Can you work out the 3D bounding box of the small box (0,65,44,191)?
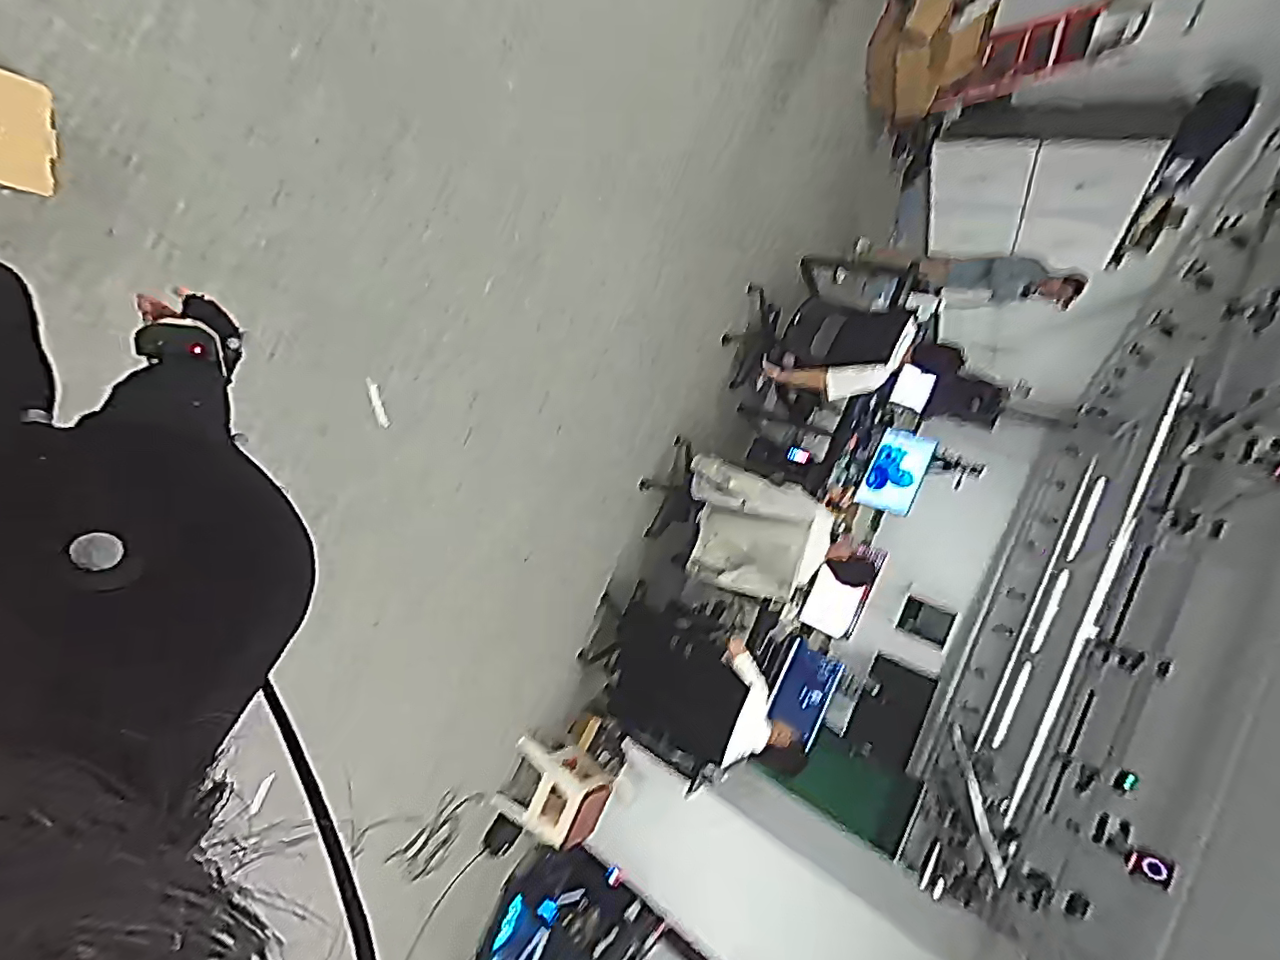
[{"bbox_3d":[-1.059,-0.565,0.823,0.179,0.176,0.168,-5,112,-57],"label":"small box"}]
